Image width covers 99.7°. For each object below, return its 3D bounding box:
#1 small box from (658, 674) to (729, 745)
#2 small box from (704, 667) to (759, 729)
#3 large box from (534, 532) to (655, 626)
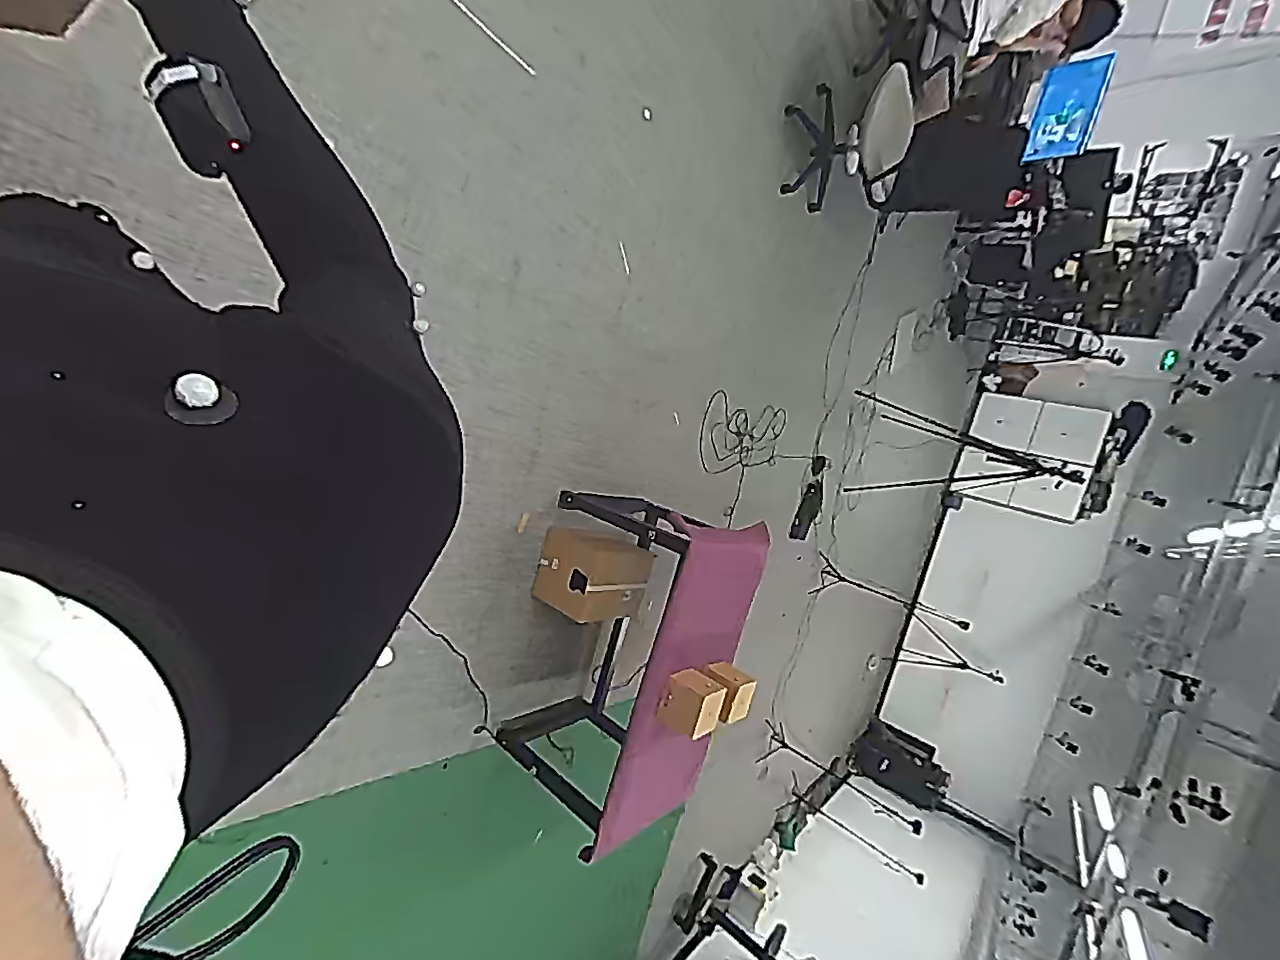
[{"bbox_3d":[0.197,0.835,1.990,0.179,0.176,0.168,14,93,-53],"label":"small box"},{"bbox_3d":[0.355,0.883,2.210,0.179,0.176,0.168,15,94,-52],"label":"small box"},{"bbox_3d":[-0.200,0.427,2.414,0.408,0.320,0.320,11,97,-54],"label":"large box"}]
